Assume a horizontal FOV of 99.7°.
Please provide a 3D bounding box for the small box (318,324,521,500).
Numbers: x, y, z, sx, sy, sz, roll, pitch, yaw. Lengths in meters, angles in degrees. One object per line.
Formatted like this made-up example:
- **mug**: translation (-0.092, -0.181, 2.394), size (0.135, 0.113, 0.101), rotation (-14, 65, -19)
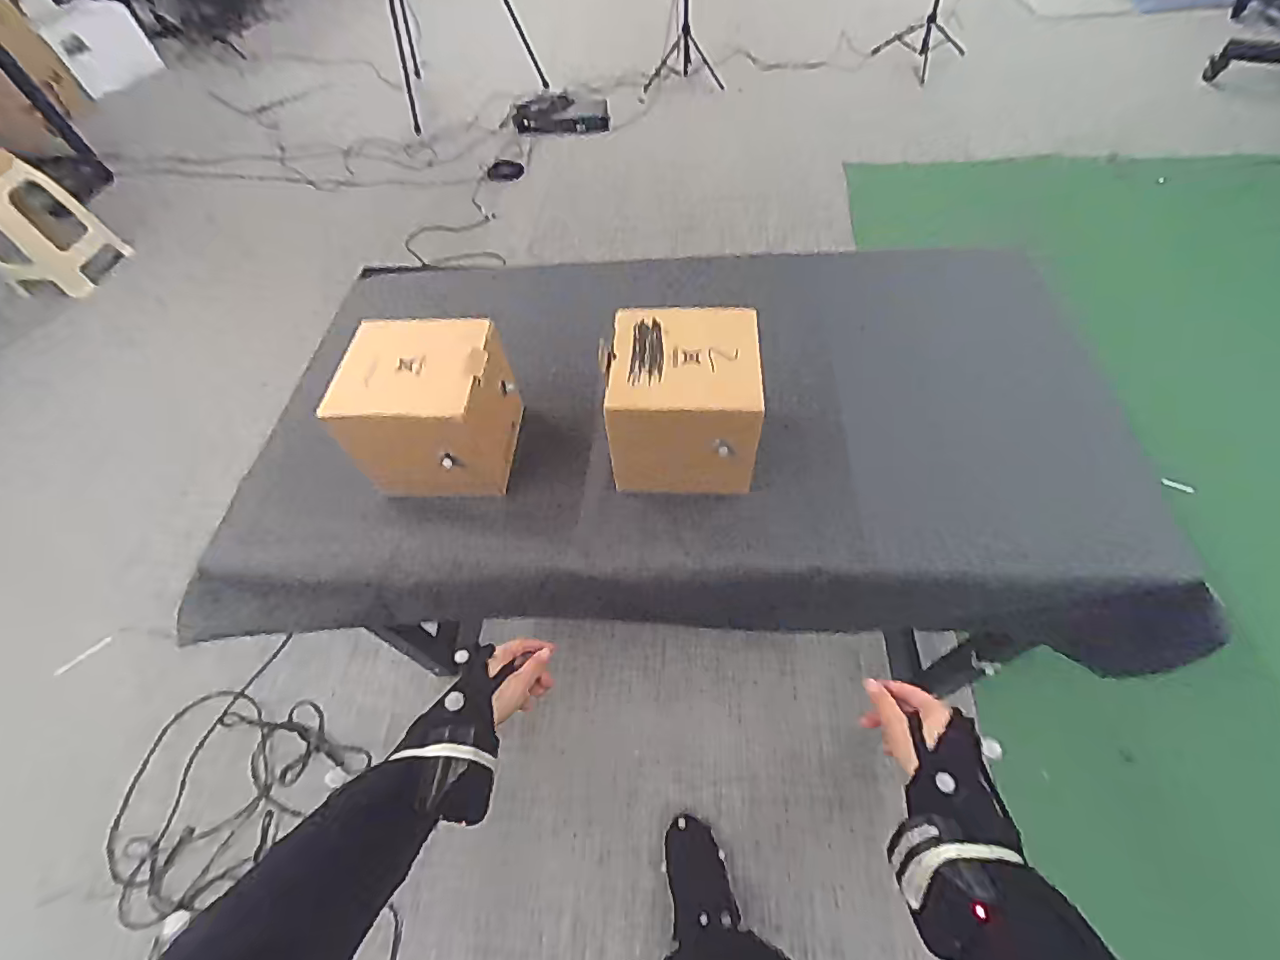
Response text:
- **small box**: translation (-0.268, -0.085, 0.711), size (0.179, 0.176, 0.168), rotation (-1, 54, 5)
